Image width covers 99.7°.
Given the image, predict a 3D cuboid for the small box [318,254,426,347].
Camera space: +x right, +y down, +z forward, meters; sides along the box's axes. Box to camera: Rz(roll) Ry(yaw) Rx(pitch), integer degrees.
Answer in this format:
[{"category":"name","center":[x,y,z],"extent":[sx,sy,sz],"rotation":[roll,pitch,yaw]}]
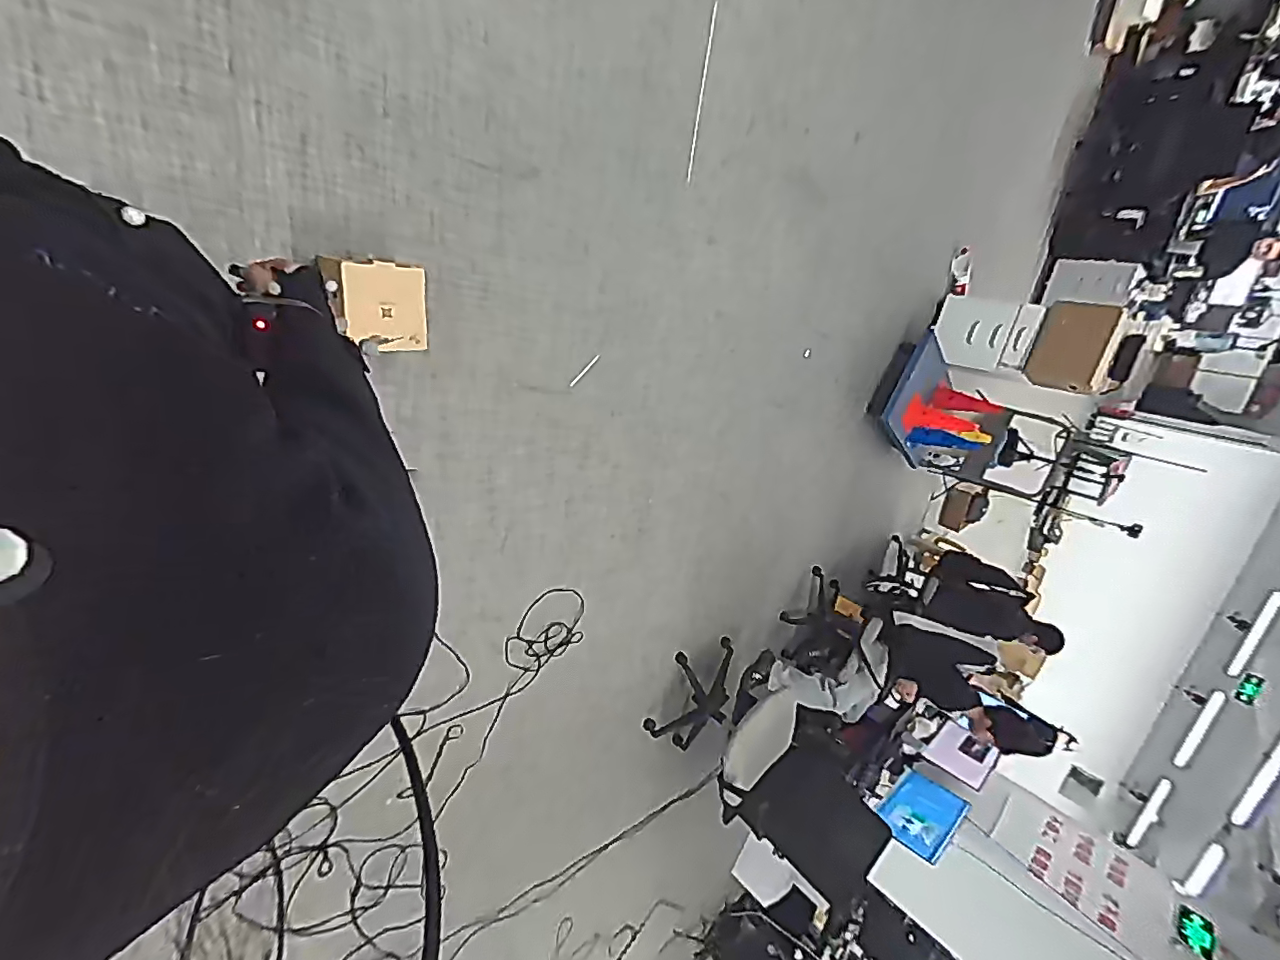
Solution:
[{"category":"small box","center":[-0.581,-0.389,1.172],"extent":[0.168,0.176,0.179],"rotation":[-13,118,-41]}]
